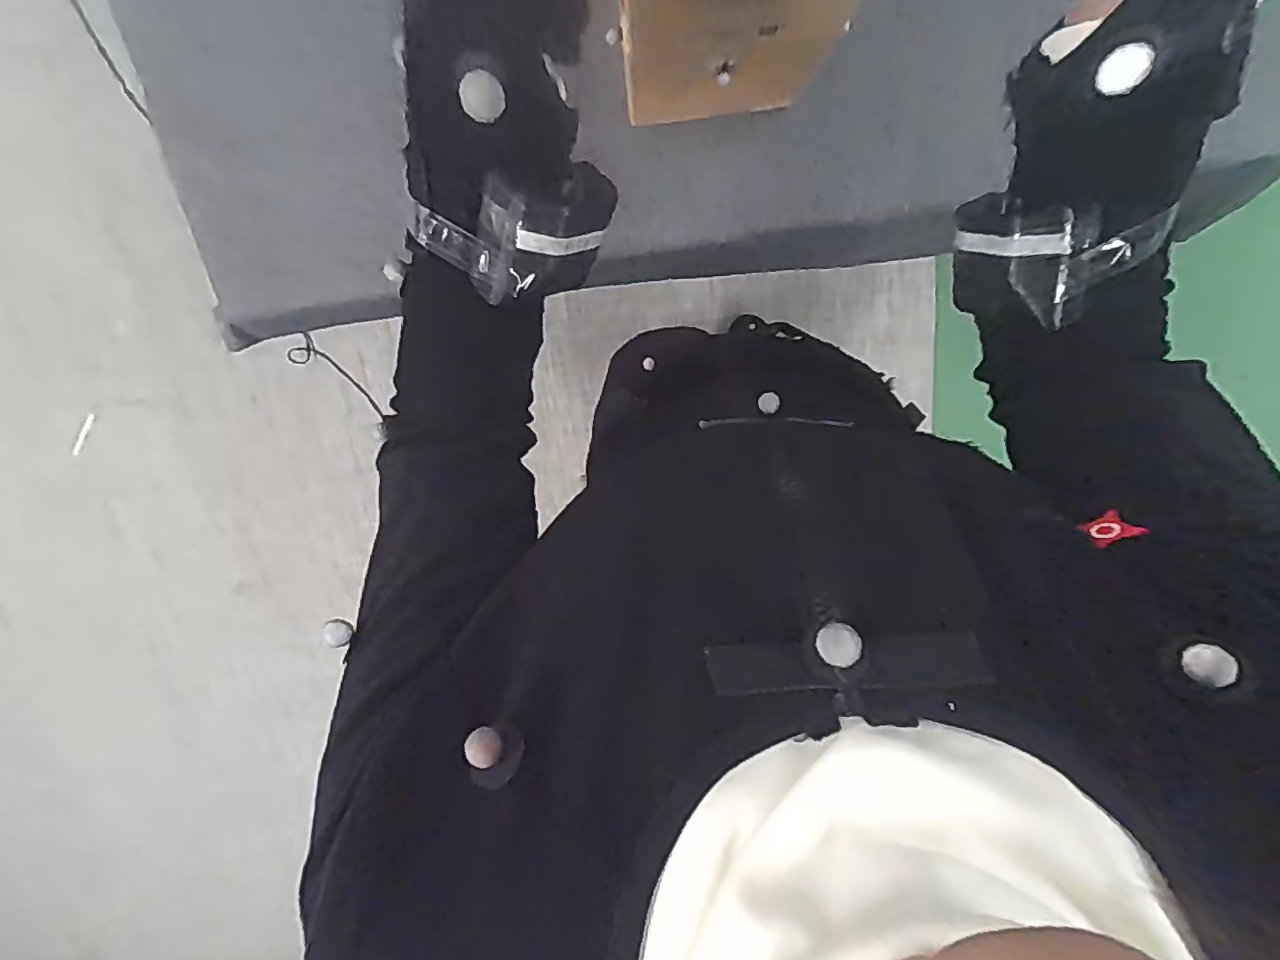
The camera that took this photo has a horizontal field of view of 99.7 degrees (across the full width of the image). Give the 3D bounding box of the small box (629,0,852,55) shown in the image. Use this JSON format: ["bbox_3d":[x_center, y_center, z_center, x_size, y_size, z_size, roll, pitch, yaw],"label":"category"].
[{"bbox_3d":[0.066,-0.404,0.325,0.168,0.176,0.179,-8,108,2],"label":"small box"}]

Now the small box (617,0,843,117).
[{"bbox_3d":[0.066,-0.449,0.480,0.179,0.176,0.168,-6,107,2],"label":"small box"}]
